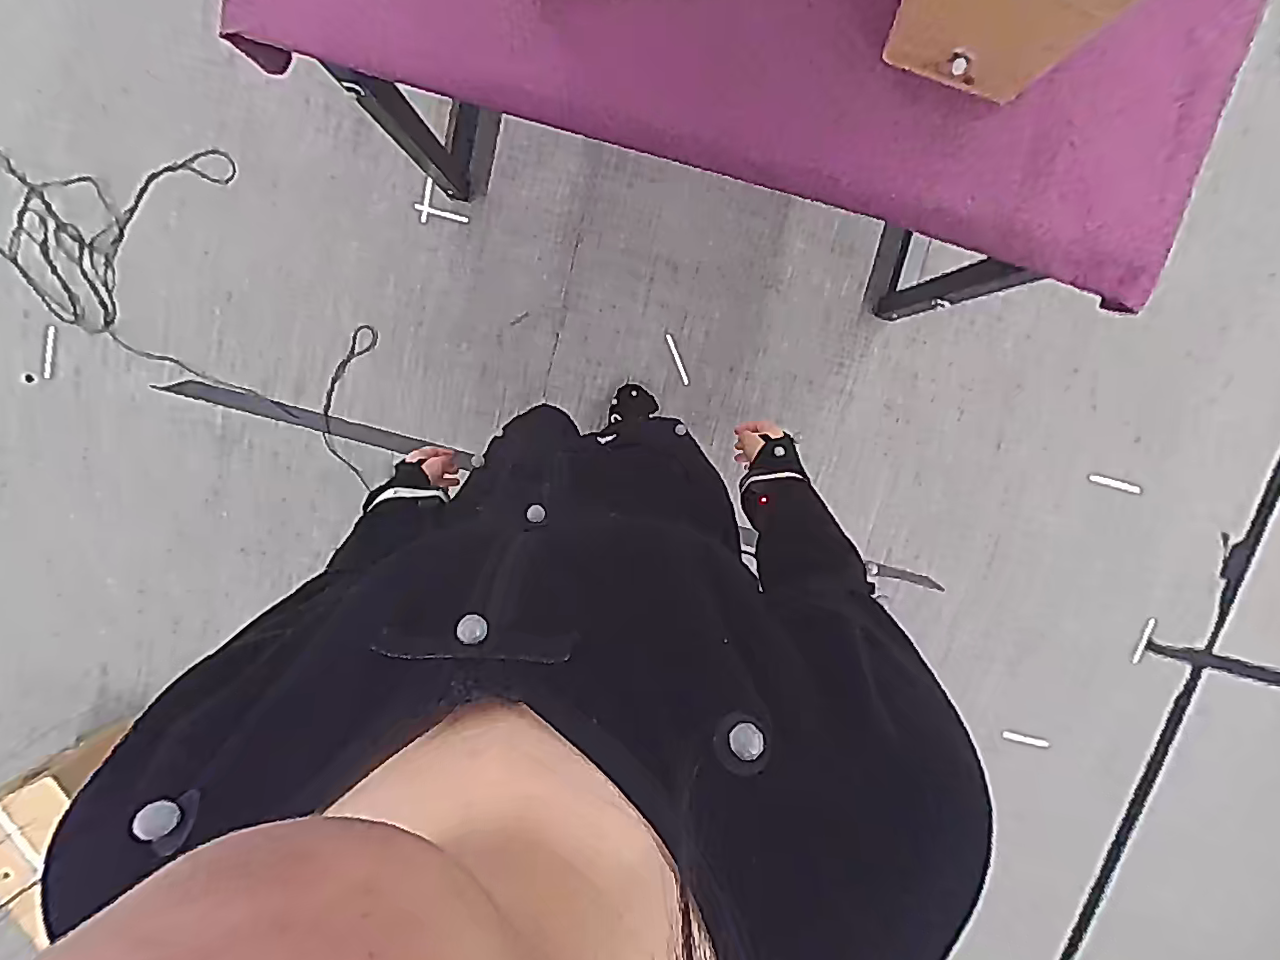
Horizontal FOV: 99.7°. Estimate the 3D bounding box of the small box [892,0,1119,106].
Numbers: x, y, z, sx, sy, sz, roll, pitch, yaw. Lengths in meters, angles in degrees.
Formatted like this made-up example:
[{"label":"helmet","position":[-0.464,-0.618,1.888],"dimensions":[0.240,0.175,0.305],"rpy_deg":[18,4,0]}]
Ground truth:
[{"label":"small box","position":[0.403,-0.554,0.576],"dimensions":[0.168,0.176,0.179],"rpy_deg":[17,99,-3]}]
